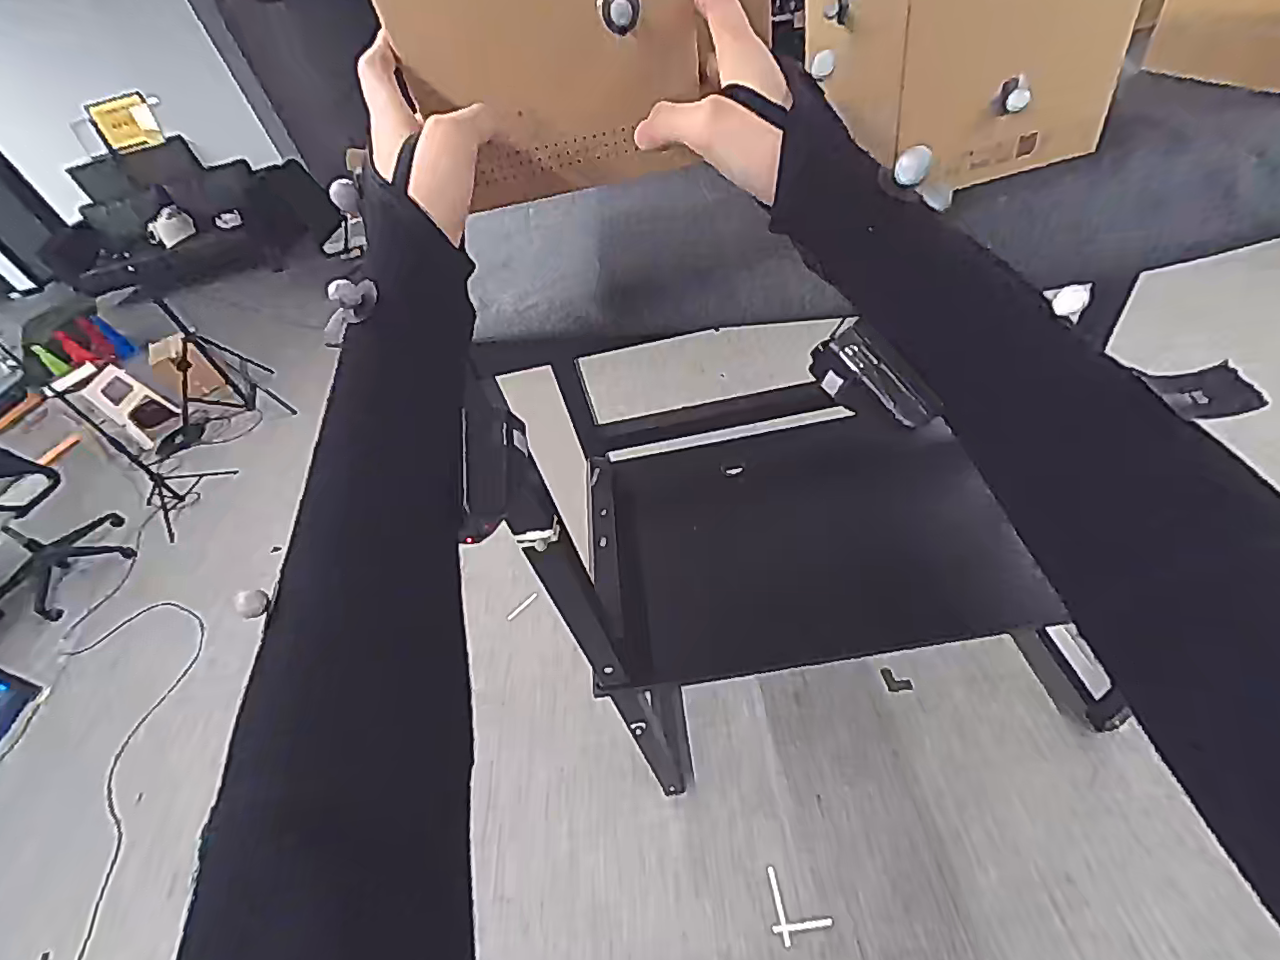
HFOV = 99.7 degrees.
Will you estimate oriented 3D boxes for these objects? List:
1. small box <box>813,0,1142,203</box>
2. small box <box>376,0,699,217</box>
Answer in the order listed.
[{"bbox_3d":[0.246,-0.343,0.432,0.168,0.176,0.179,-15,42,1],"label":"small box"},{"bbox_3d":[-0.060,-0.303,0.359,0.179,0.176,0.168,-12,49,1],"label":"small box"}]
